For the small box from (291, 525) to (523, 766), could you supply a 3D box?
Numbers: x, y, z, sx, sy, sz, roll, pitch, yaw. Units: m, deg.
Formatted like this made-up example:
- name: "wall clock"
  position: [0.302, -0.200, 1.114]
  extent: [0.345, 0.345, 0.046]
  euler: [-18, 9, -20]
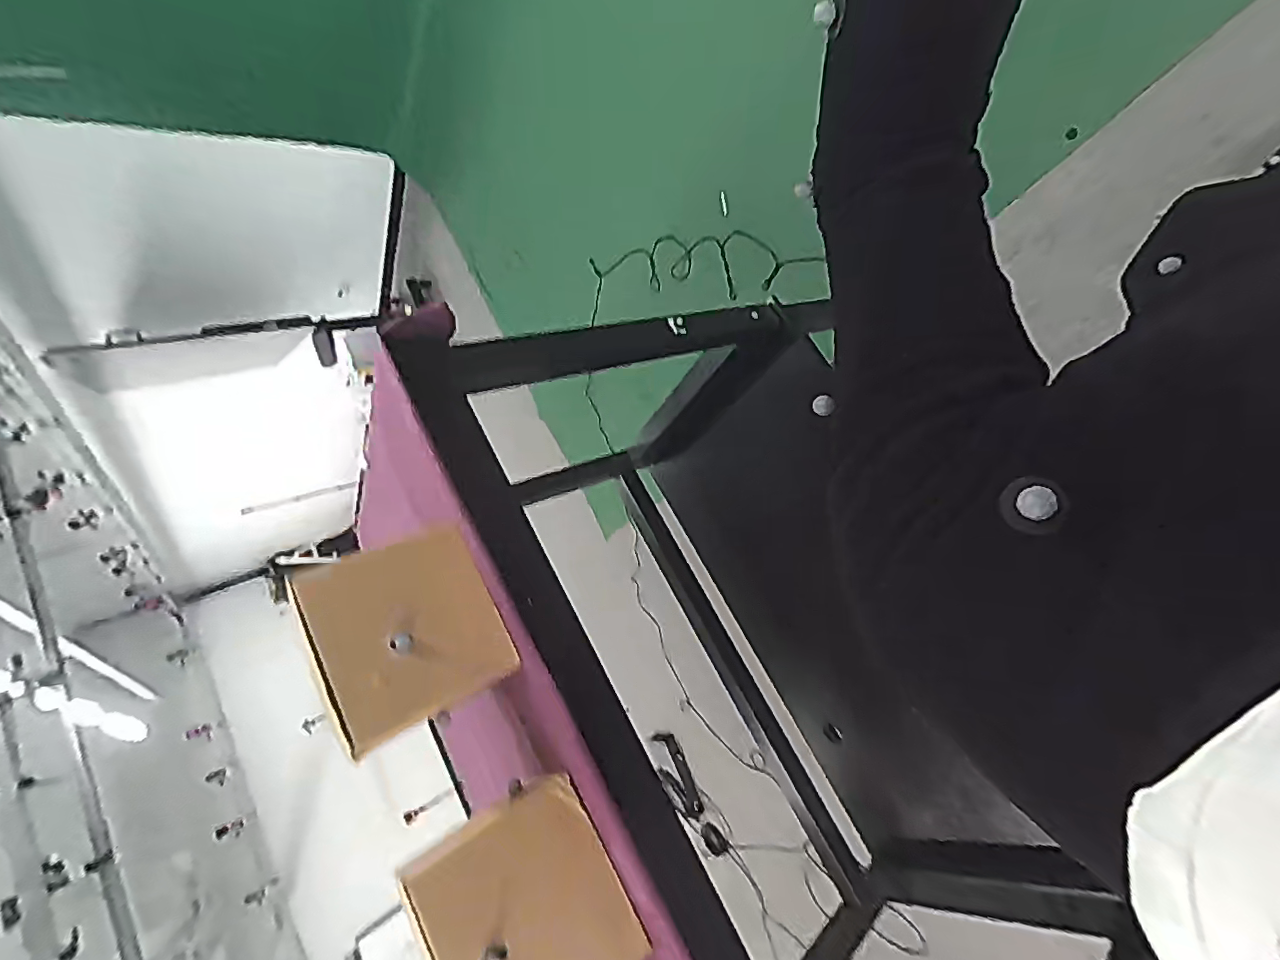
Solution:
- name: "small box"
  position: [-0.251, 0.176, 0.588]
  extent: [0.179, 0.176, 0.168]
  euler: [59, 141, 13]

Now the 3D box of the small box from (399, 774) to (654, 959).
- name: "small box"
  position: [-0.115, 0.424, 0.530]
  extent: [0.179, 0.176, 0.168]
  euler: [59, 142, 15]
